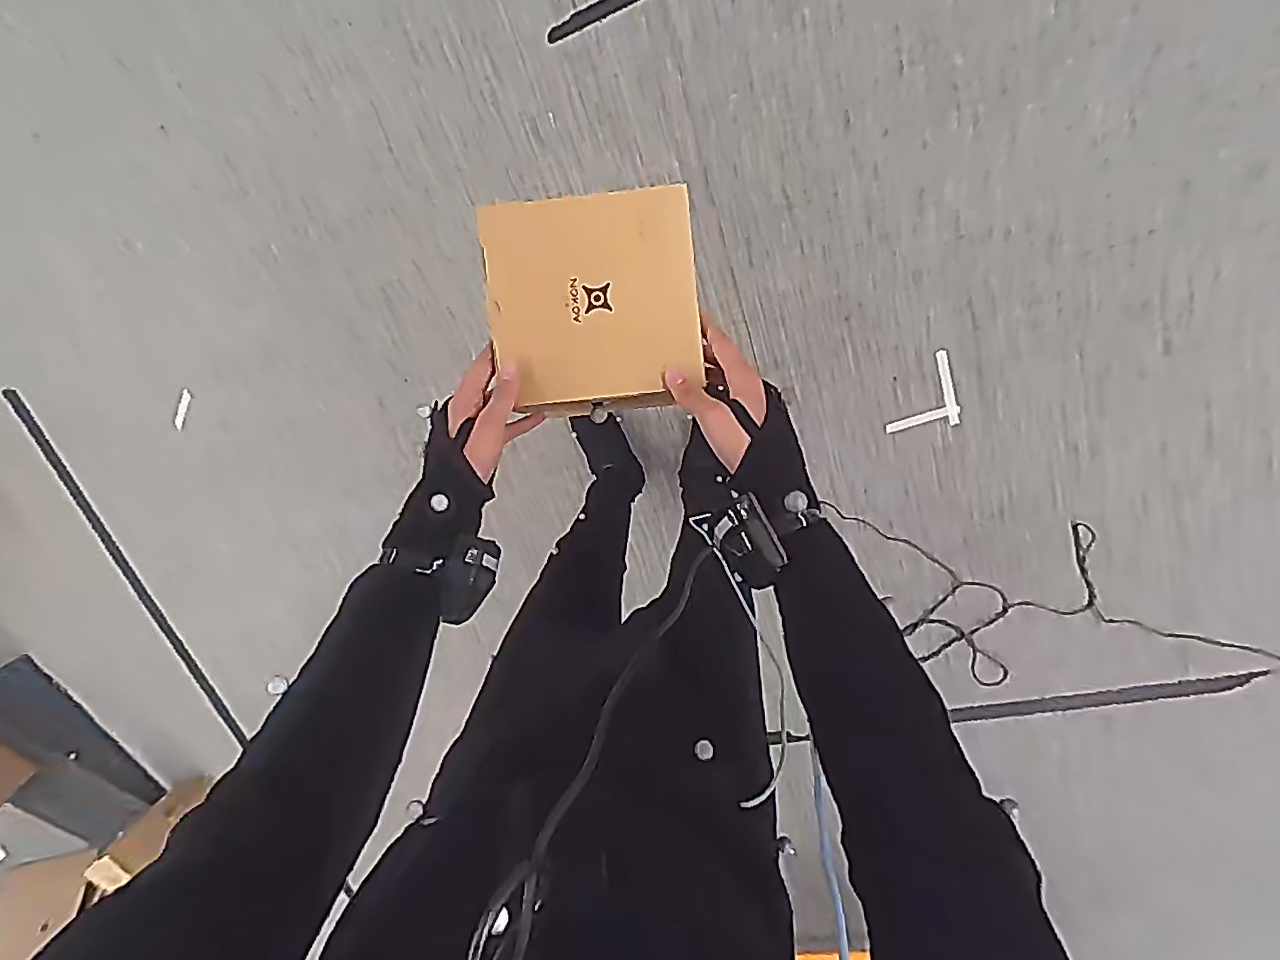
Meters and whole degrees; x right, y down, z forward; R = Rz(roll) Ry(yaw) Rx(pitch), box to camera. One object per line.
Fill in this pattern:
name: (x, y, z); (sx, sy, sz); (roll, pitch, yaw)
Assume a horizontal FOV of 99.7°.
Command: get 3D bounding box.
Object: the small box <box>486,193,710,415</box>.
small box: (-0.031, -0.154, 0.528); (0.179, 0.176, 0.168); (-5, 95, 3)
